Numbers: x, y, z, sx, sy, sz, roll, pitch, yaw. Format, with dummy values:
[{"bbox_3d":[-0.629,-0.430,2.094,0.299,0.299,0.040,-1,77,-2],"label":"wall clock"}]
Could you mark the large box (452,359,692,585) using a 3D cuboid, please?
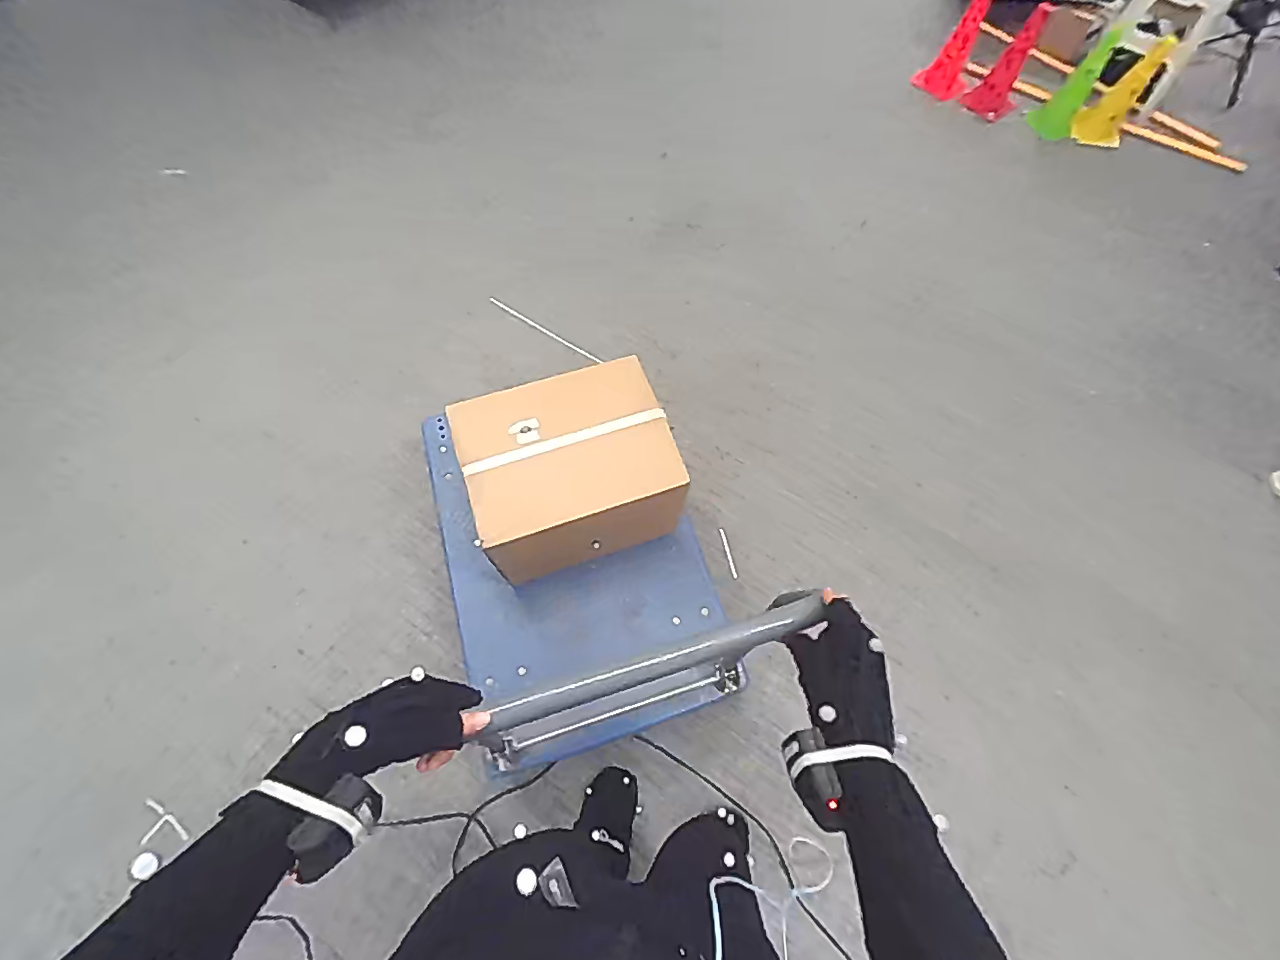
[{"bbox_3d":[-0.140,-0.004,1.192,0.408,0.320,0.320,-19,68,-10],"label":"large box"}]
